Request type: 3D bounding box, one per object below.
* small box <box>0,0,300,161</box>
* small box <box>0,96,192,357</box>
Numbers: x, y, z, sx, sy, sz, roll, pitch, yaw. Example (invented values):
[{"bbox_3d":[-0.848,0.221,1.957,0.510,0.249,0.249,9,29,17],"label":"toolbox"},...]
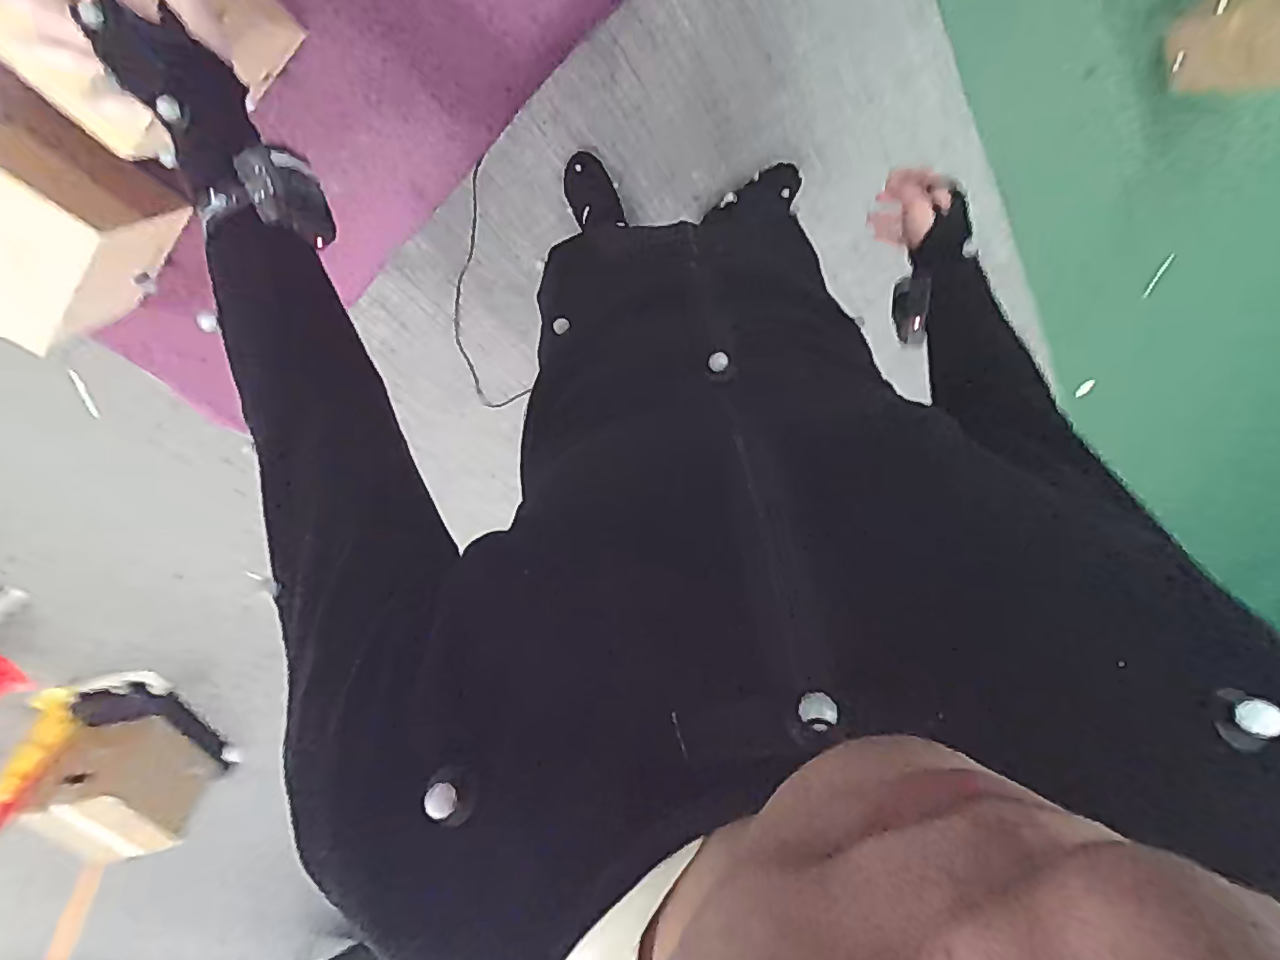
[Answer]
[{"bbox_3d":[-0.458,-0.422,0.483,0.168,0.176,0.179,-36,122,16],"label":"small box"},{"bbox_3d":[-0.636,-0.267,0.564,0.168,0.176,0.179,-41,121,19],"label":"small box"}]
